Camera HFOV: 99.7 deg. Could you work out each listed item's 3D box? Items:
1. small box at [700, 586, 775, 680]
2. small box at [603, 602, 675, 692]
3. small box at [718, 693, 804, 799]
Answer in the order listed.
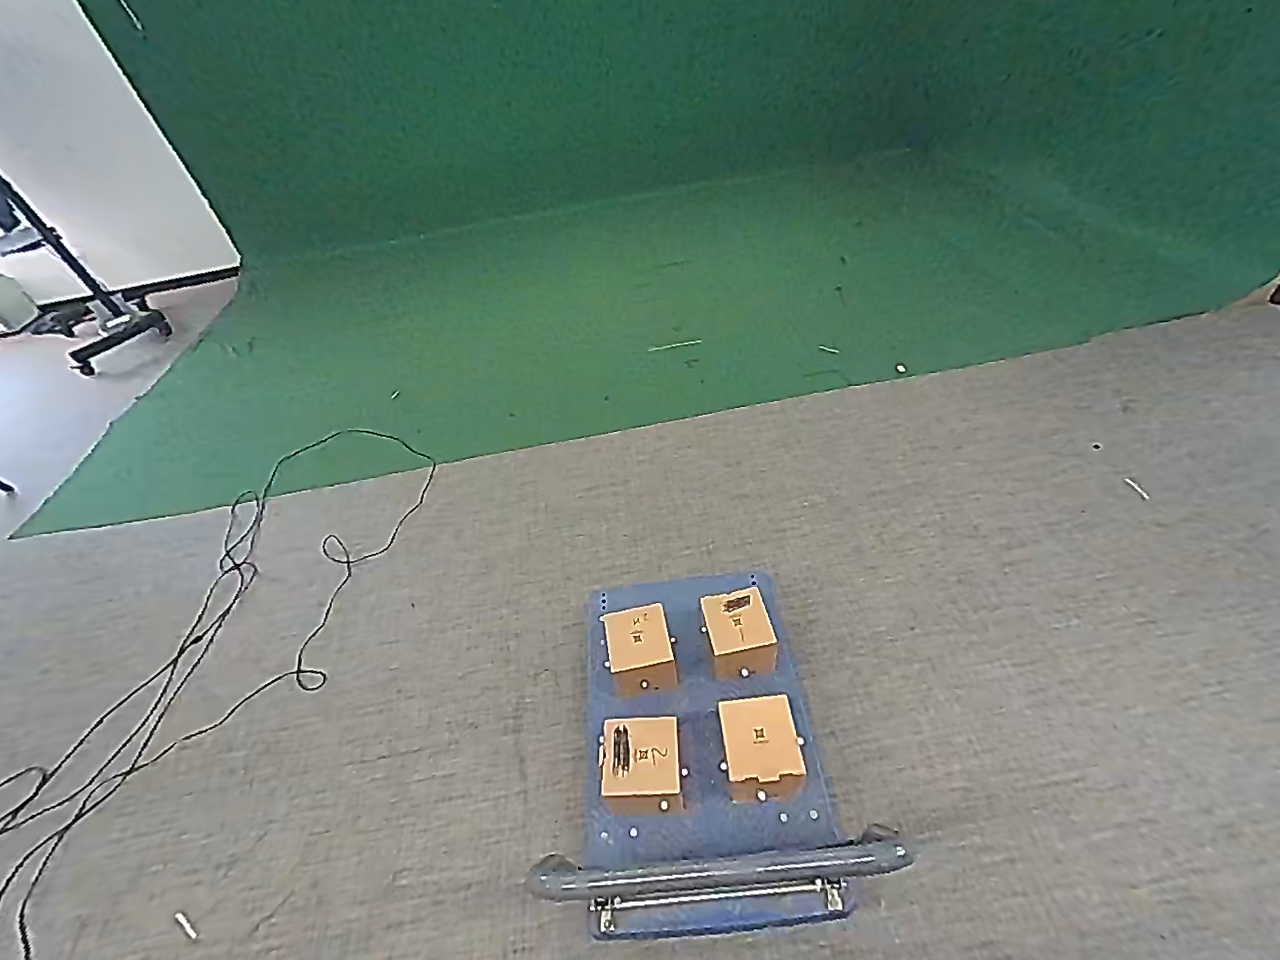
[{"bbox_3d":[0.265,0.424,1.495,0.168,0.176,0.179,-11,46,-1],"label":"small box"},{"bbox_3d":[-0.001,0.469,1.495,0.168,0.176,0.179,-11,45,-2],"label":"small box"},{"bbox_3d":[0.279,0.634,1.287,0.168,0.176,0.179,-7,45,2],"label":"small box"}]
